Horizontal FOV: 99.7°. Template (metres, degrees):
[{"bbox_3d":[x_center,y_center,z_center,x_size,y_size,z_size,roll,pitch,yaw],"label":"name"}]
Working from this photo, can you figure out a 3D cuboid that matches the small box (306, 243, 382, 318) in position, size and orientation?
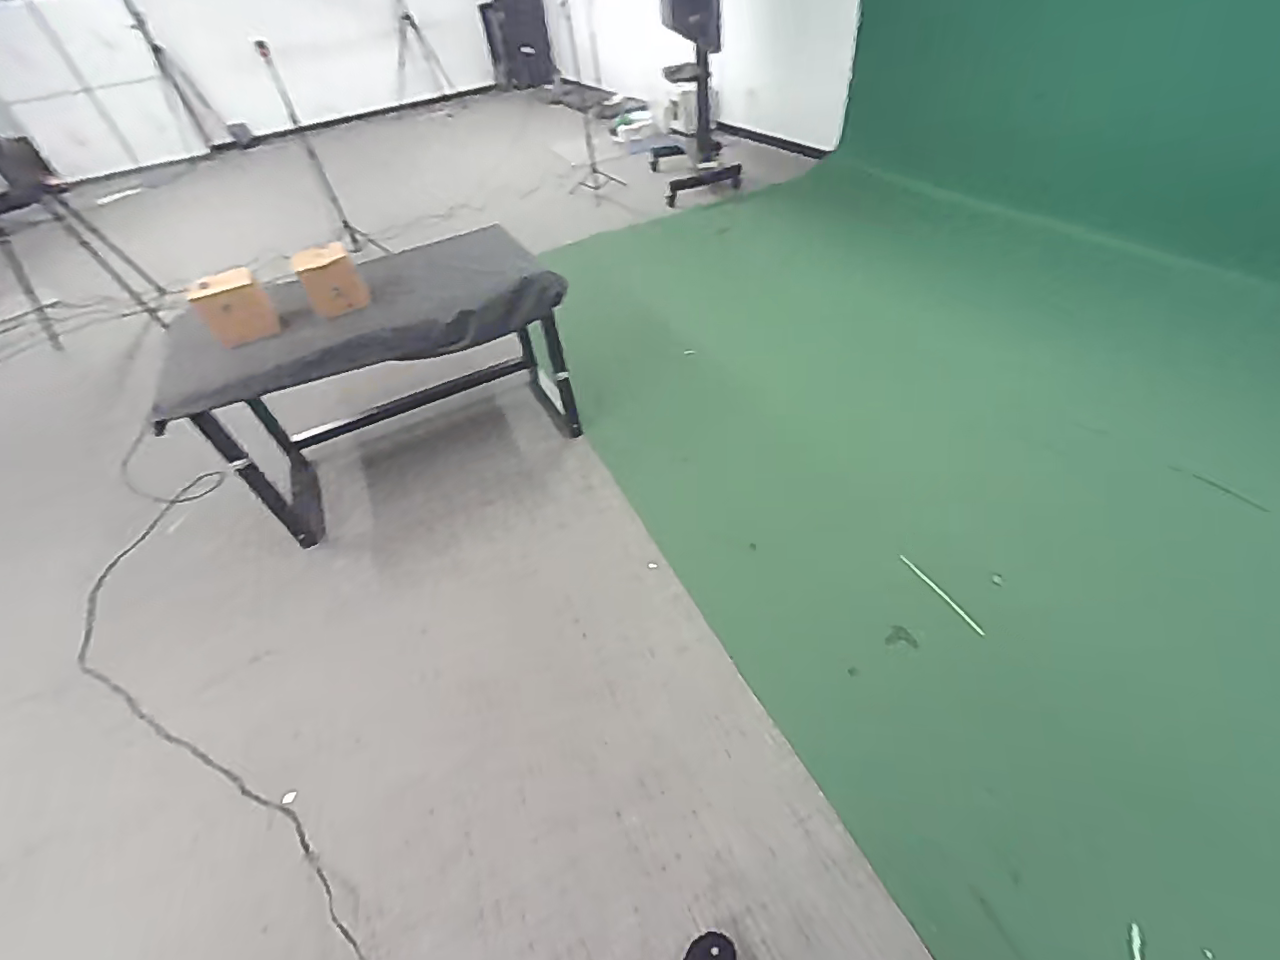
[{"bbox_3d":[-0.984,-0.662,1.805,0.168,0.176,0.179,-23,46,-15],"label":"small box"}]

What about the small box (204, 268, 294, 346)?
[{"bbox_3d":[-1.246,-0.553,1.733,0.179,0.176,0.168,-24,46,-17],"label":"small box"}]
